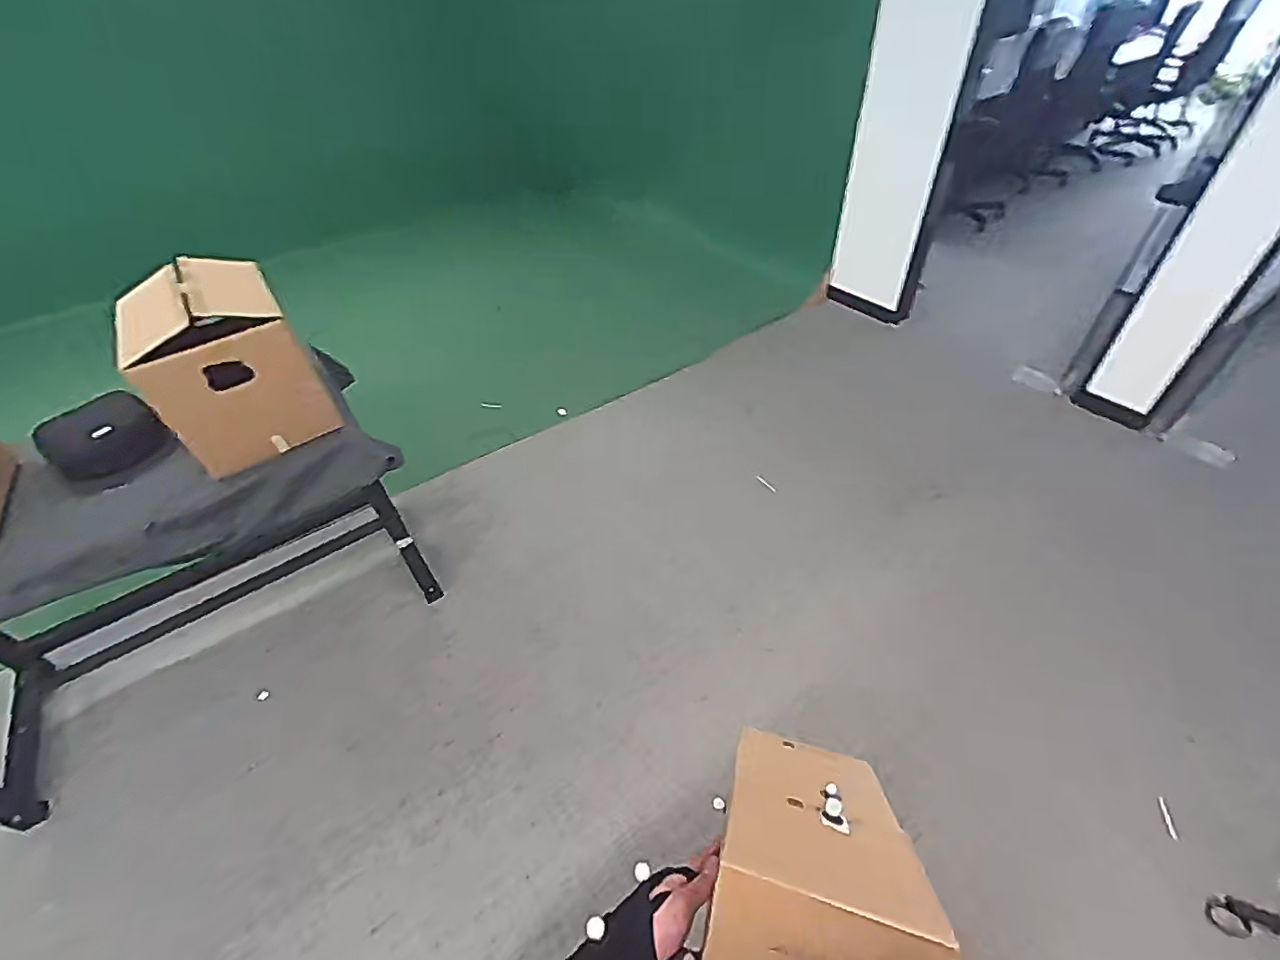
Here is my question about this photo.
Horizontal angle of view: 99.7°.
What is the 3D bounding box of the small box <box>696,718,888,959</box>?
[{"bbox_3d":[0.171,0.409,0.628,0.168,0.176,0.179,11,87,13],"label":"small box"}]
